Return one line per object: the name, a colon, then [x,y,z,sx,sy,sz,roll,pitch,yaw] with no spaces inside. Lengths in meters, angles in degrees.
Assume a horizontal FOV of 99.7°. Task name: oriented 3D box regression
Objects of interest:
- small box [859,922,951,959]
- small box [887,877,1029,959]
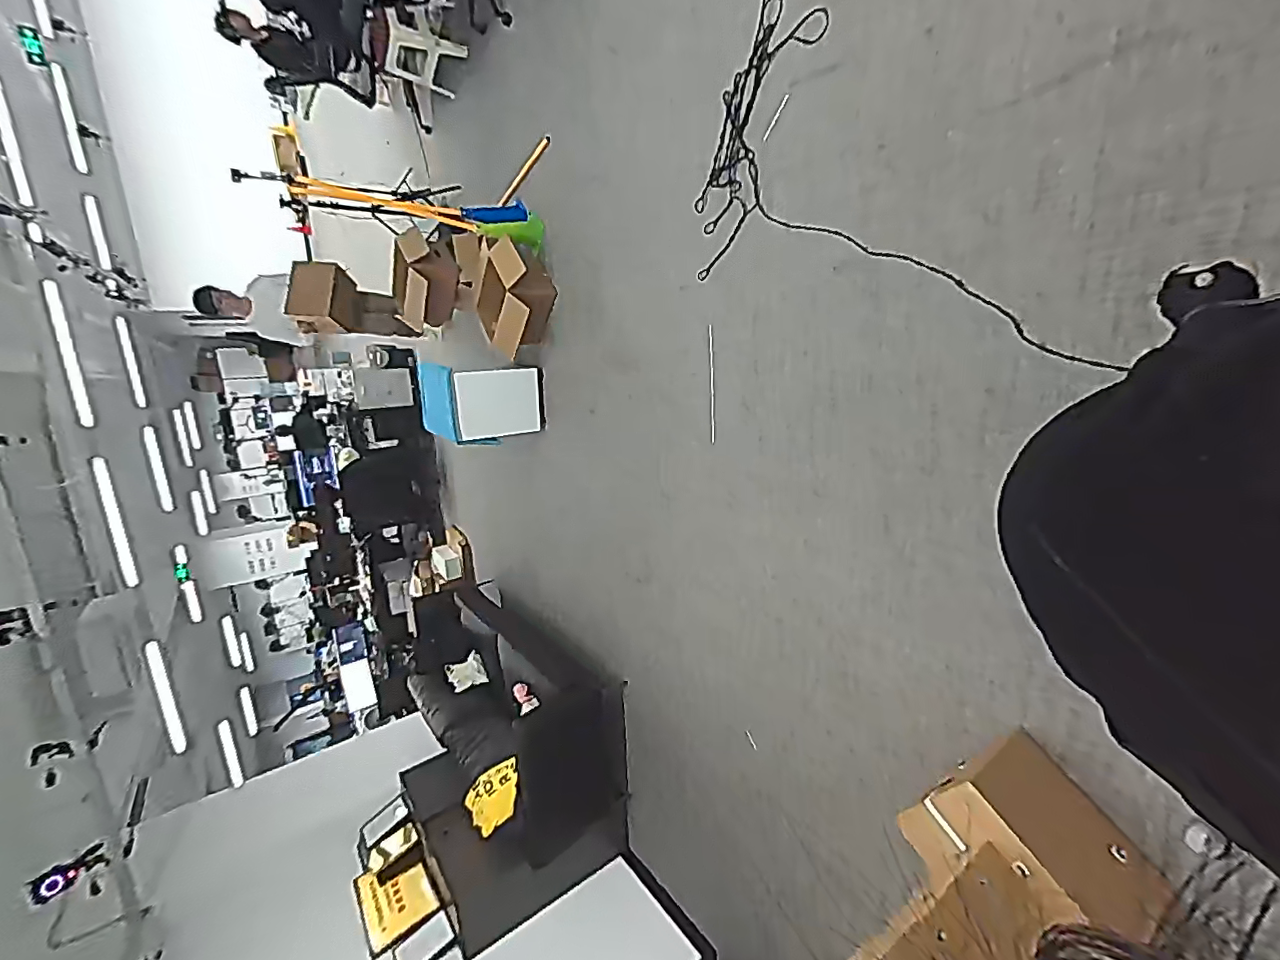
small box: [0.525,1.010,1.052,0.168,0.176,0.179,53,139,35]
small box: [0.667,0.989,1.135,0.179,0.176,0.168,53,139,34]
